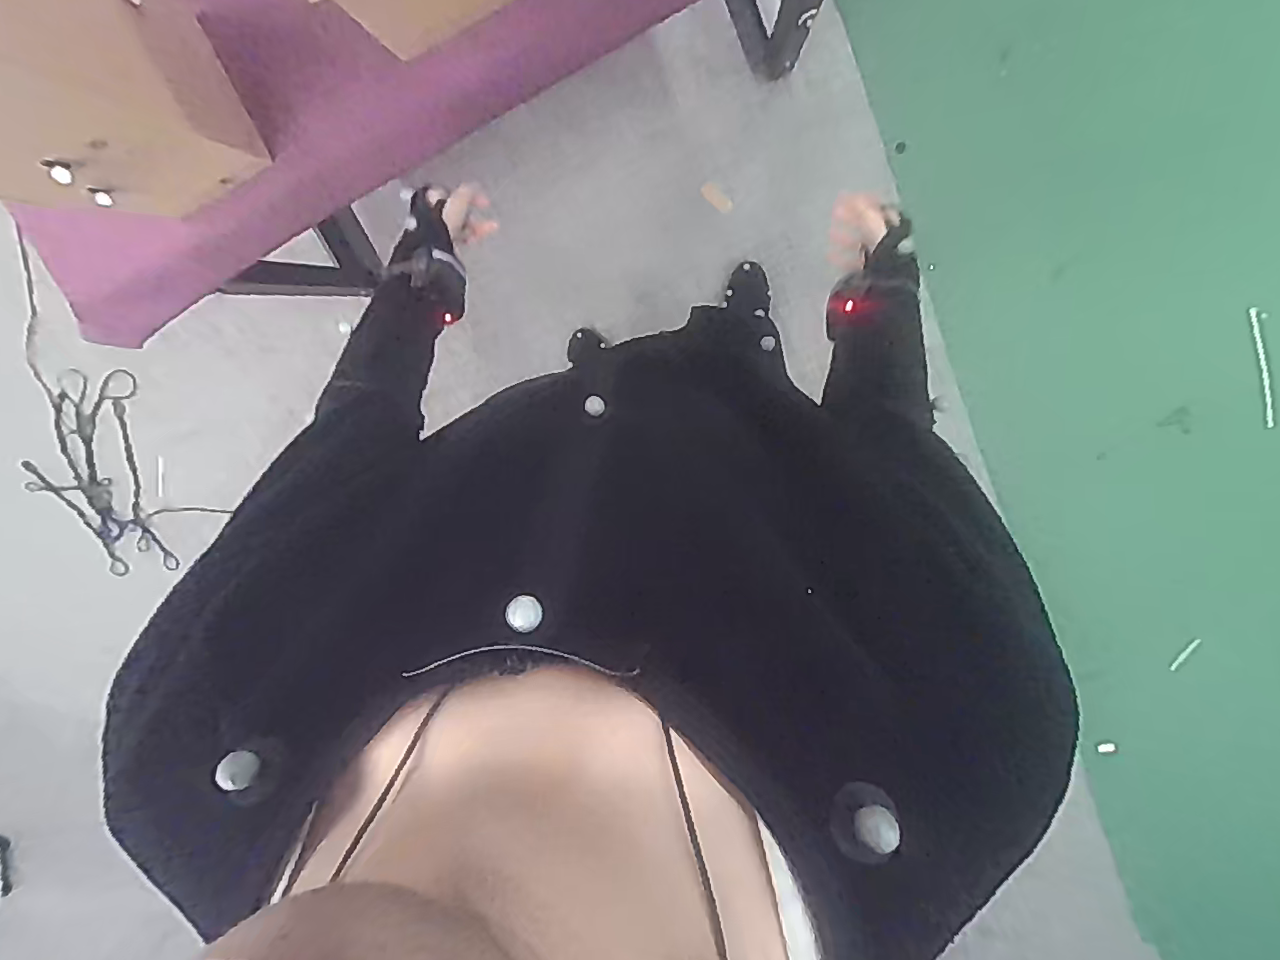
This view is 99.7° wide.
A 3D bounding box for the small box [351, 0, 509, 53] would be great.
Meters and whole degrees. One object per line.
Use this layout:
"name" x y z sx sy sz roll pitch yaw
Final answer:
"small box" -0.232 -0.566 0.519 0.179 0.176 0.168 -20 104 10
